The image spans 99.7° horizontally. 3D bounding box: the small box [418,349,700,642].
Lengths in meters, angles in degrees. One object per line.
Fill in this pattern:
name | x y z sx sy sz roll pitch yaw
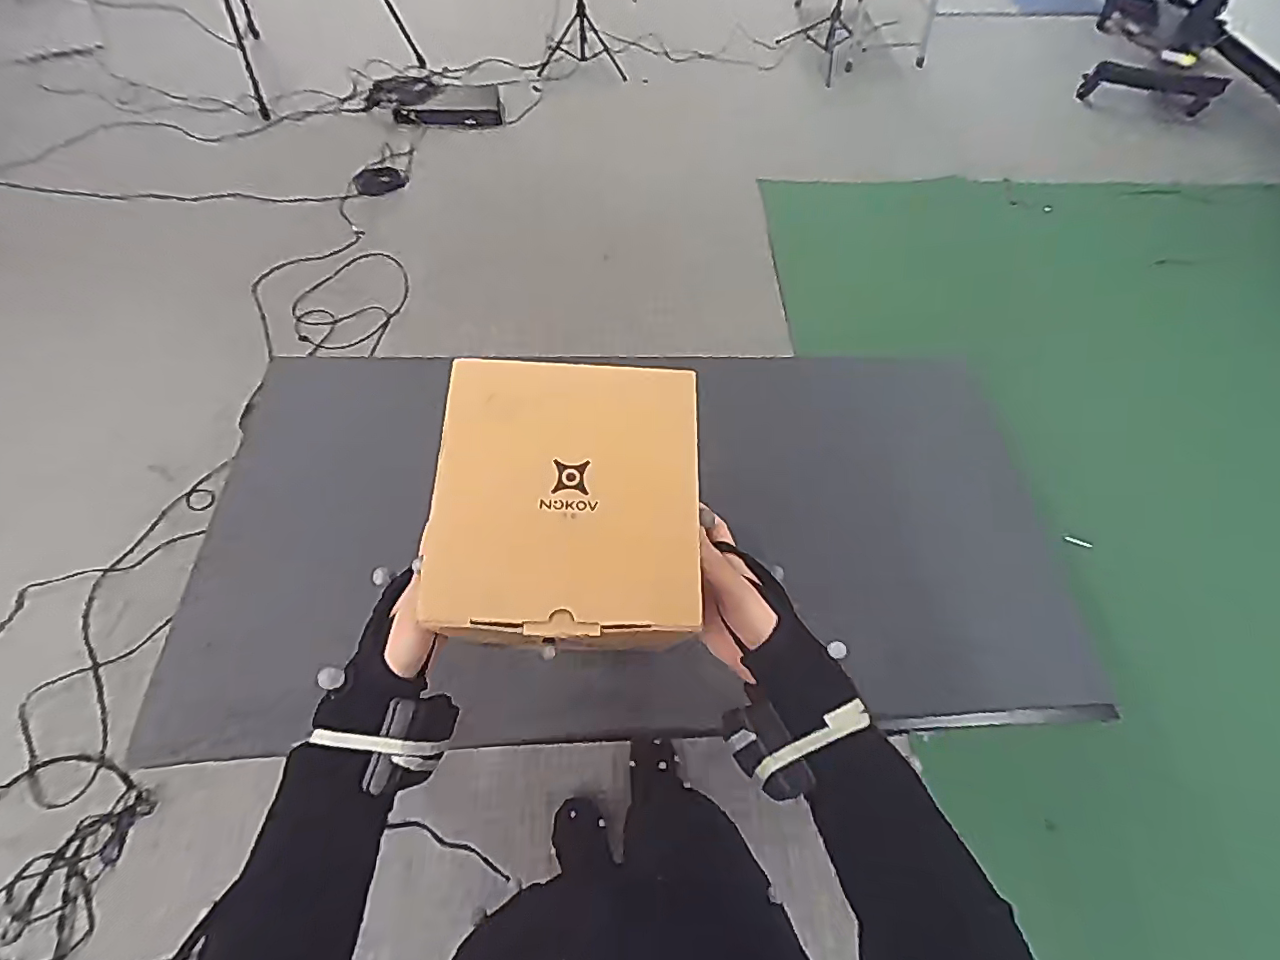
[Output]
small box | -0.052 0.025 0.416 0.168 0.176 0.179 3 69 -5
